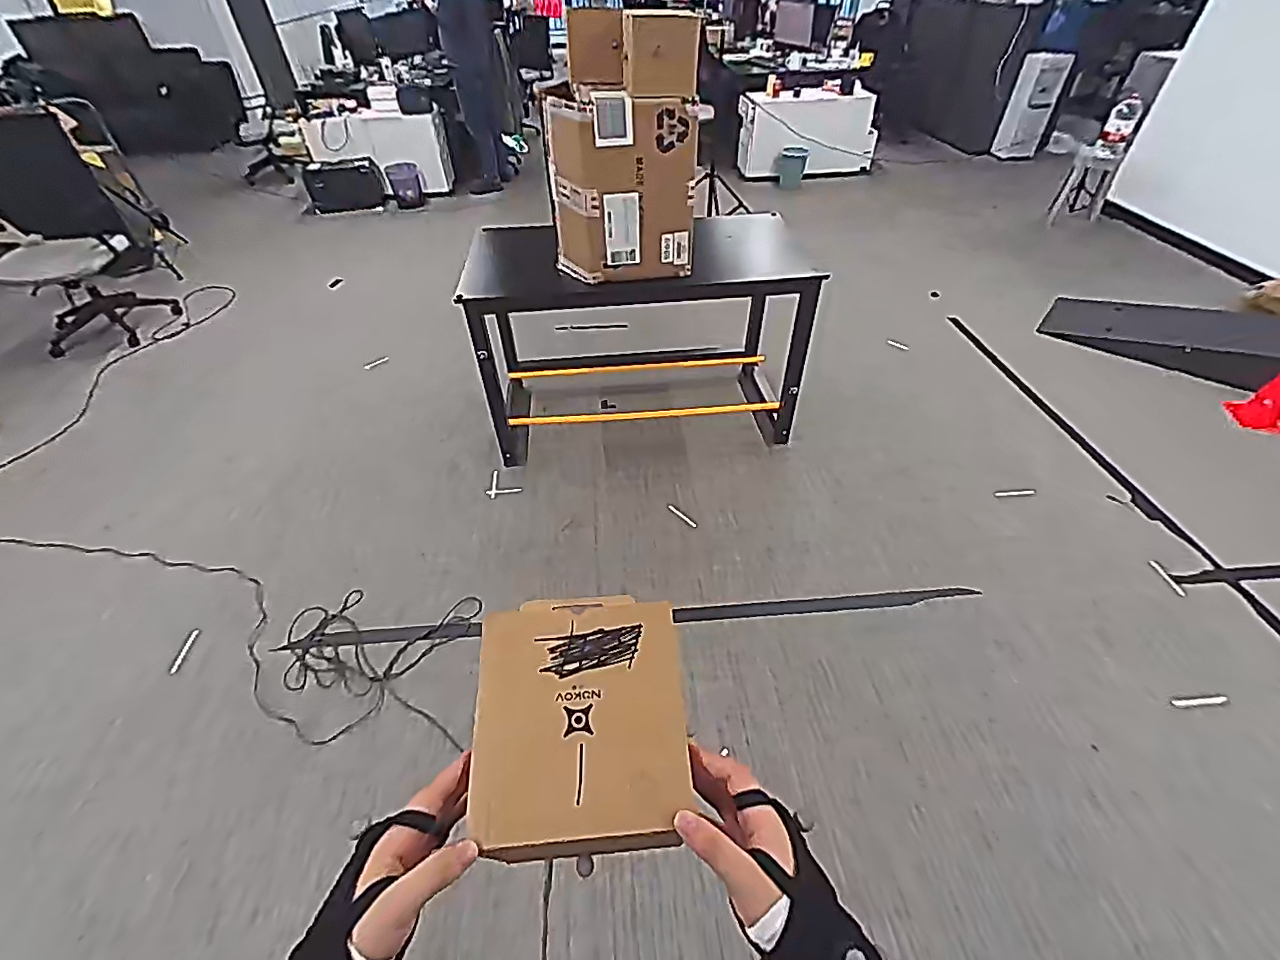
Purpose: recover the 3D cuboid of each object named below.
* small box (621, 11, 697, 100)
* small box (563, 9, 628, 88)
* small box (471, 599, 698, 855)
[{"bbox_3d":[0.049,-1.134,1.446,0.179,0.176,0.168,-7,46,-6],"label":"small box"},{"bbox_3d":[-0.128,-1.259,1.578,0.179,0.176,0.168,-6,41,-6],"label":"small box"},{"bbox_3d":[-0.047,0.230,0.500,0.168,0.176,0.179,-4,53,-3],"label":"small box"}]
